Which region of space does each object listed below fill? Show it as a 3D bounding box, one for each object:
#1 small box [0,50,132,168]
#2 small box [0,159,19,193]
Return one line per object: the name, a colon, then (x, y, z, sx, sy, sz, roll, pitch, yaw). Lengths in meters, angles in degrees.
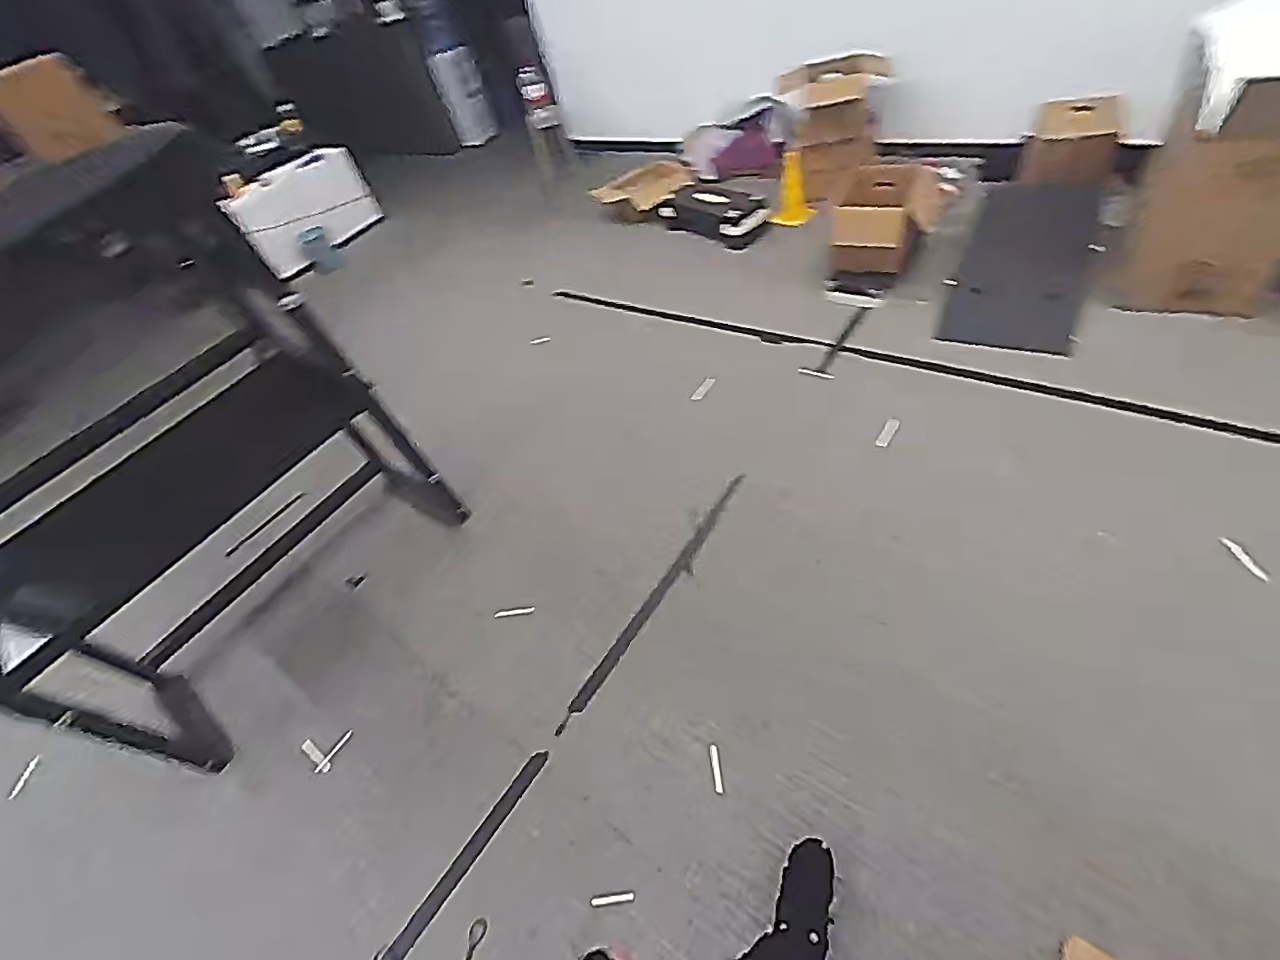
small box: (-1.278, -0.808, 1.183, 0.179, 0.176, 0.168, 29, 64, 34)
small box: (-1.462, -0.655, 1.108, 0.179, 0.176, 0.168, -36, 50, -15)
